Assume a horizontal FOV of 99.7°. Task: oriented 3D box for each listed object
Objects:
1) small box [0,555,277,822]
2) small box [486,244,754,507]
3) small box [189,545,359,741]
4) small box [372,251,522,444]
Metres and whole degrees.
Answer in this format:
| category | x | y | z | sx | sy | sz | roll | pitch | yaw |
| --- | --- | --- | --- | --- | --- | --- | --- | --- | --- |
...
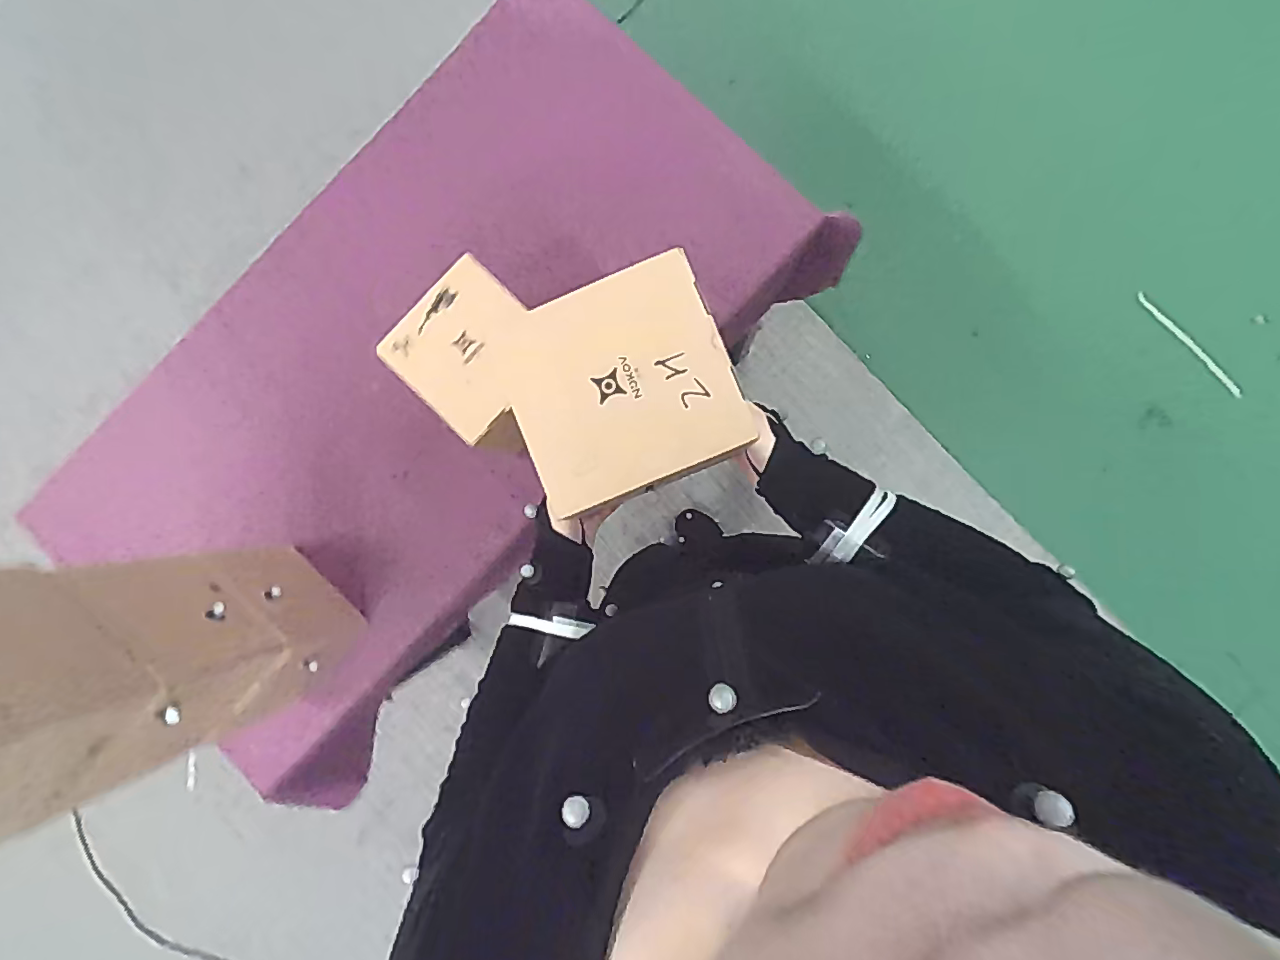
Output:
| category | x | y | z | sx | sy | sz | roll | pitch | yaw |
| --- | --- | --- | --- | --- | --- | --- | --- | --- | --- |
| small box | -0.546 | 0.200 | 0.576 | 0.168 | 0.176 | 0.179 | 41 | 89 | 4 |
| small box | -0.012 | -0.079 | 0.505 | 0.179 | 0.176 | 0.168 | -21 | 88 | 2 |
| small box | -0.533 | 0.204 | 0.737 | 0.179 | 0.176 | 0.168 | 43 | 90 | 5 |
| small box | -0.206 | -0.161 | 0.730 | 0.179 | 0.176 | 0.168 | 44 | 91 | 3 |
